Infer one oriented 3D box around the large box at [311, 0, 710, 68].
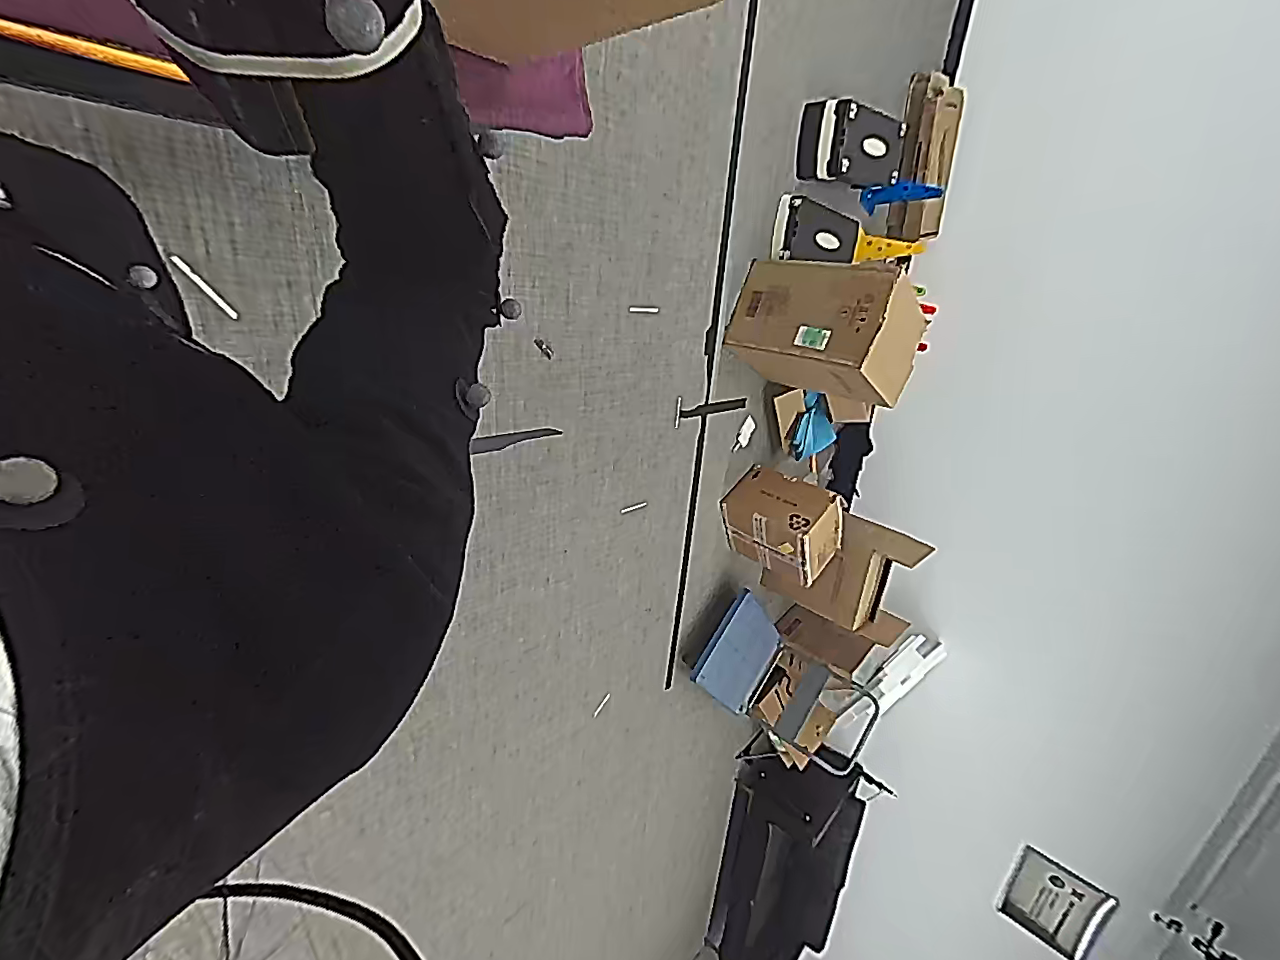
[{"bbox_3d":[-0.137,-0.595,0.379,0.320,0.320,0.408,-17,119,-45],"label":"large box"}]
